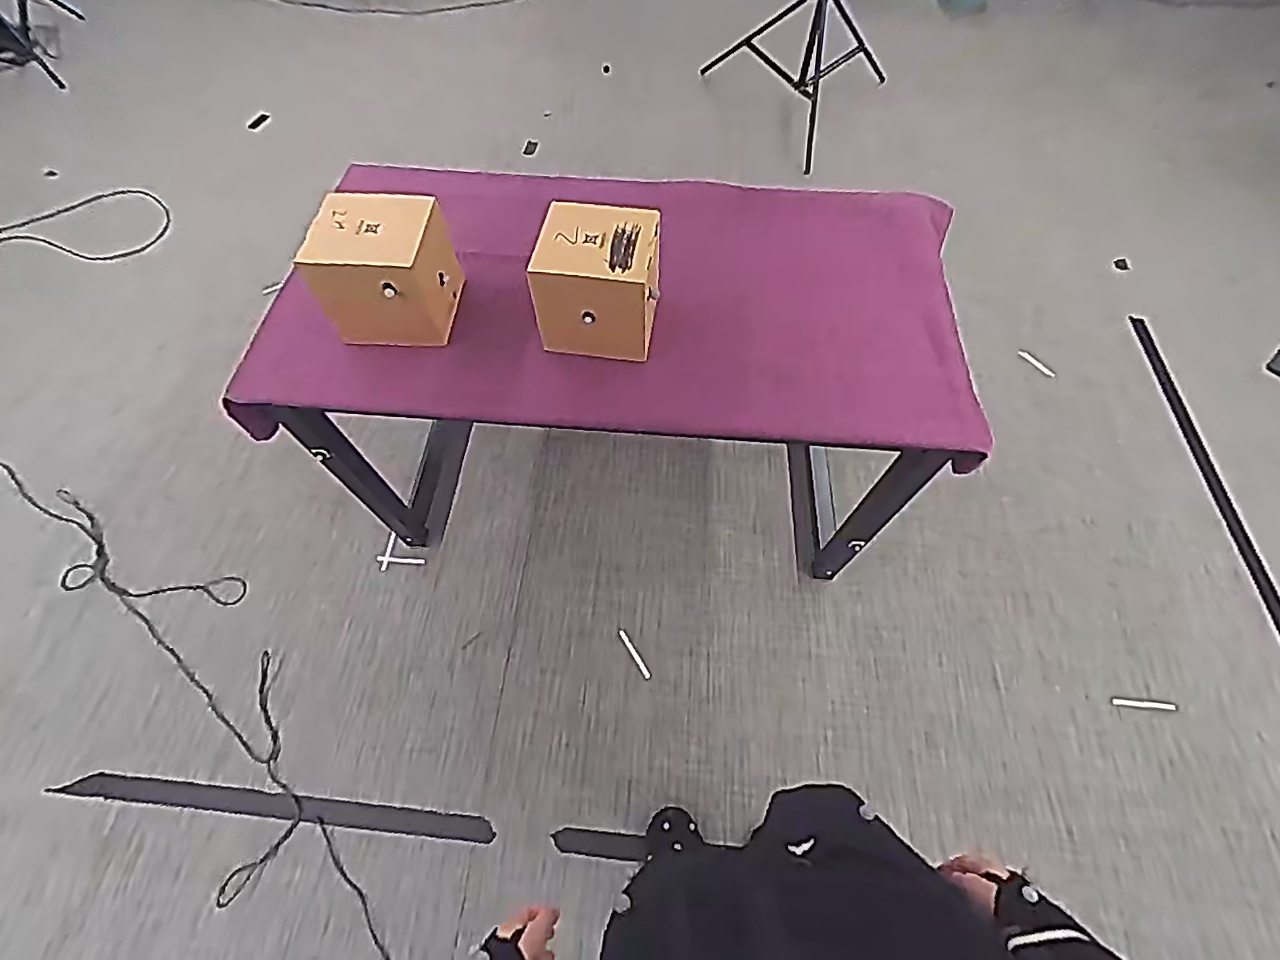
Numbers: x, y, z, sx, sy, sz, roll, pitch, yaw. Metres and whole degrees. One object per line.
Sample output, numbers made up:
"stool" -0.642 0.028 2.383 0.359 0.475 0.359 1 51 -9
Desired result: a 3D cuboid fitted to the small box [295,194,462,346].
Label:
"small box" -0.409 -0.338 0.886 0.179 0.176 0.168 2 60 1
